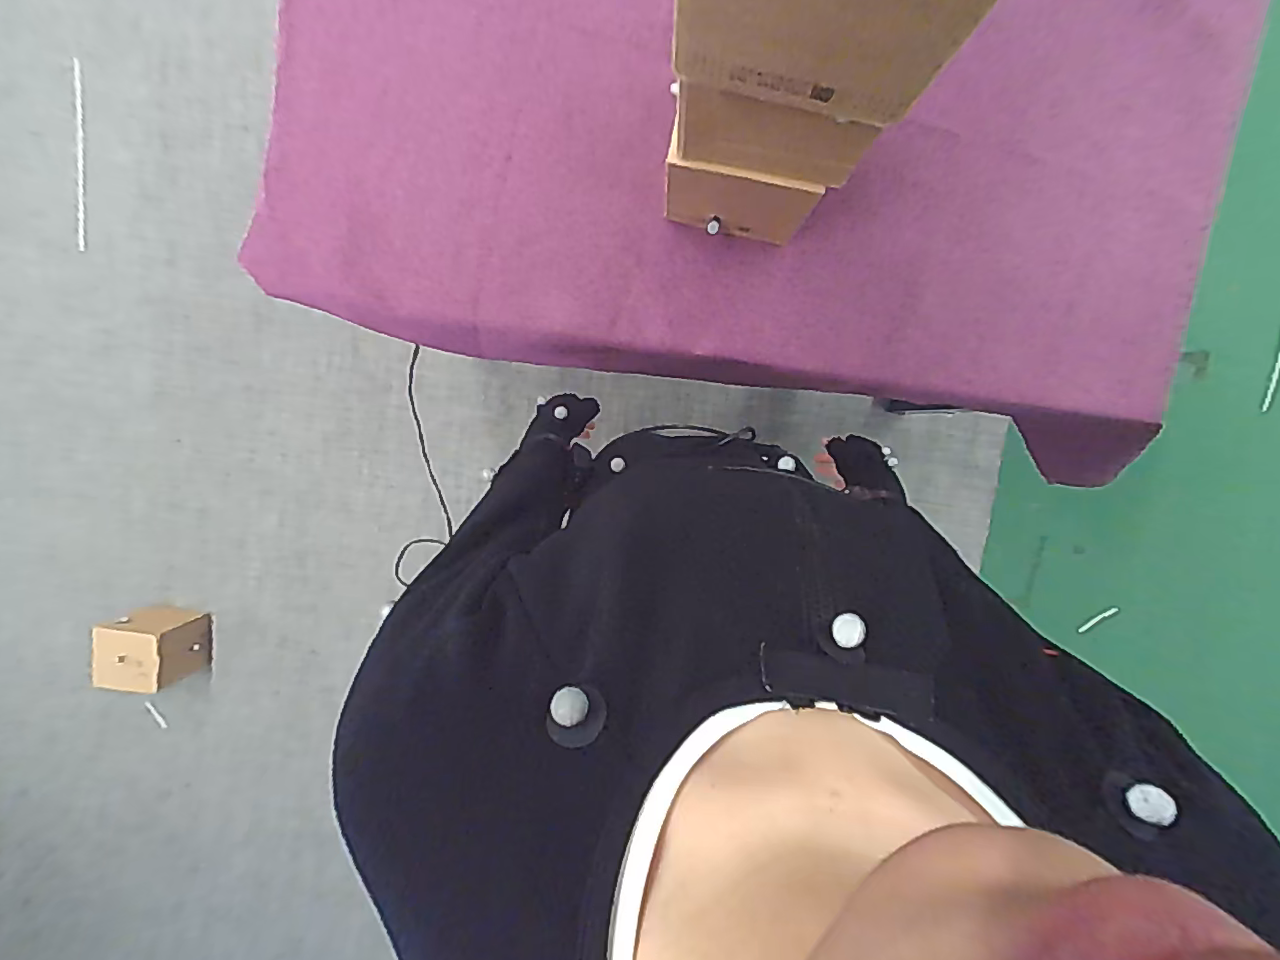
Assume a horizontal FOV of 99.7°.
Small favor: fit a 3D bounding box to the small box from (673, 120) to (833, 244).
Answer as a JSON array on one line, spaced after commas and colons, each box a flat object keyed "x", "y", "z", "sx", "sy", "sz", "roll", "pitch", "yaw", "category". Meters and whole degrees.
[{"x": 0.133, "y": -0.396, "z": 0.612, "sx": 0.168, "sy": 0.176, "sz": 0.179, "roll": 13, "pitch": 97, "yaw": 2, "category": "small box"}]

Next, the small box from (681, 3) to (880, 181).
[{"x": 0.133, "y": -0.379, "z": 0.452, "sx": 0.179, "sy": 0.176, "sz": 0.168, "roll": 11, "pitch": 97, "yaw": 1, "category": "small box"}]

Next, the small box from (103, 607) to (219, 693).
[{"x": -1.319, "y": 0.462, "z": 1.494, "sx": 0.179, "sy": 0.176, "sz": 0.168, "roll": 7, "pitch": 97, "yaw": 1, "category": "small box"}]

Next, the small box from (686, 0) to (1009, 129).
[{"x": 0.123, "y": -0.338, "z": 0.292, "sx": 0.168, "sy": 0.176, "sz": 0.179, "roll": 14, "pitch": 95, "yaw": 1, "category": "small box"}]
